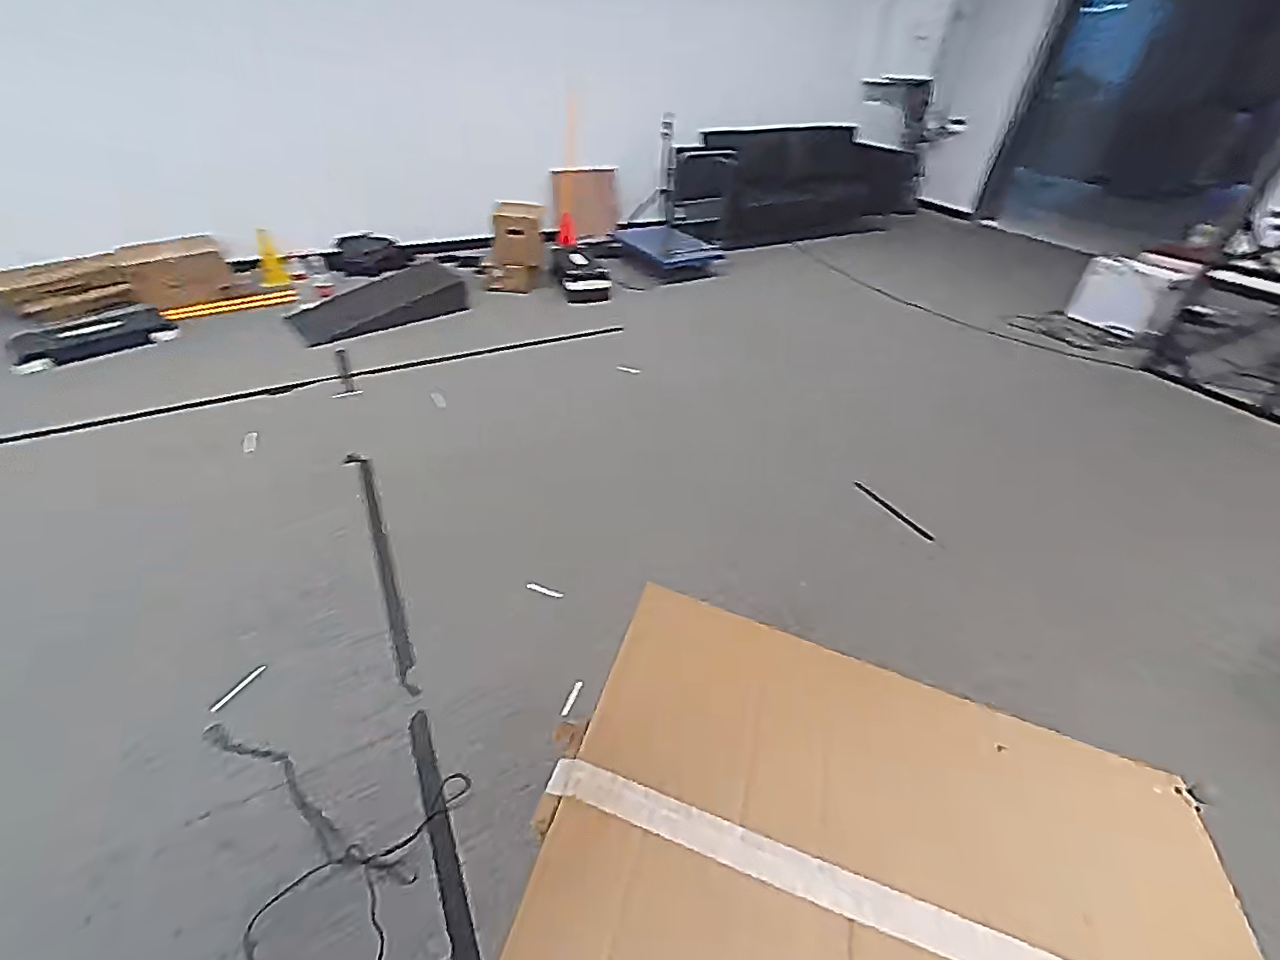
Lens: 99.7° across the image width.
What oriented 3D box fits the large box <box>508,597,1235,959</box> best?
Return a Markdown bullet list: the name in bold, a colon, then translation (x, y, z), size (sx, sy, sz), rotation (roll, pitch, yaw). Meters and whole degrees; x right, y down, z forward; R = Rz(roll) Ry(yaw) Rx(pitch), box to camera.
- **large box**: translation (0.118, 0.353, 0.402), size (0.408, 0.320, 0.320), rotation (19, 42, 6)
